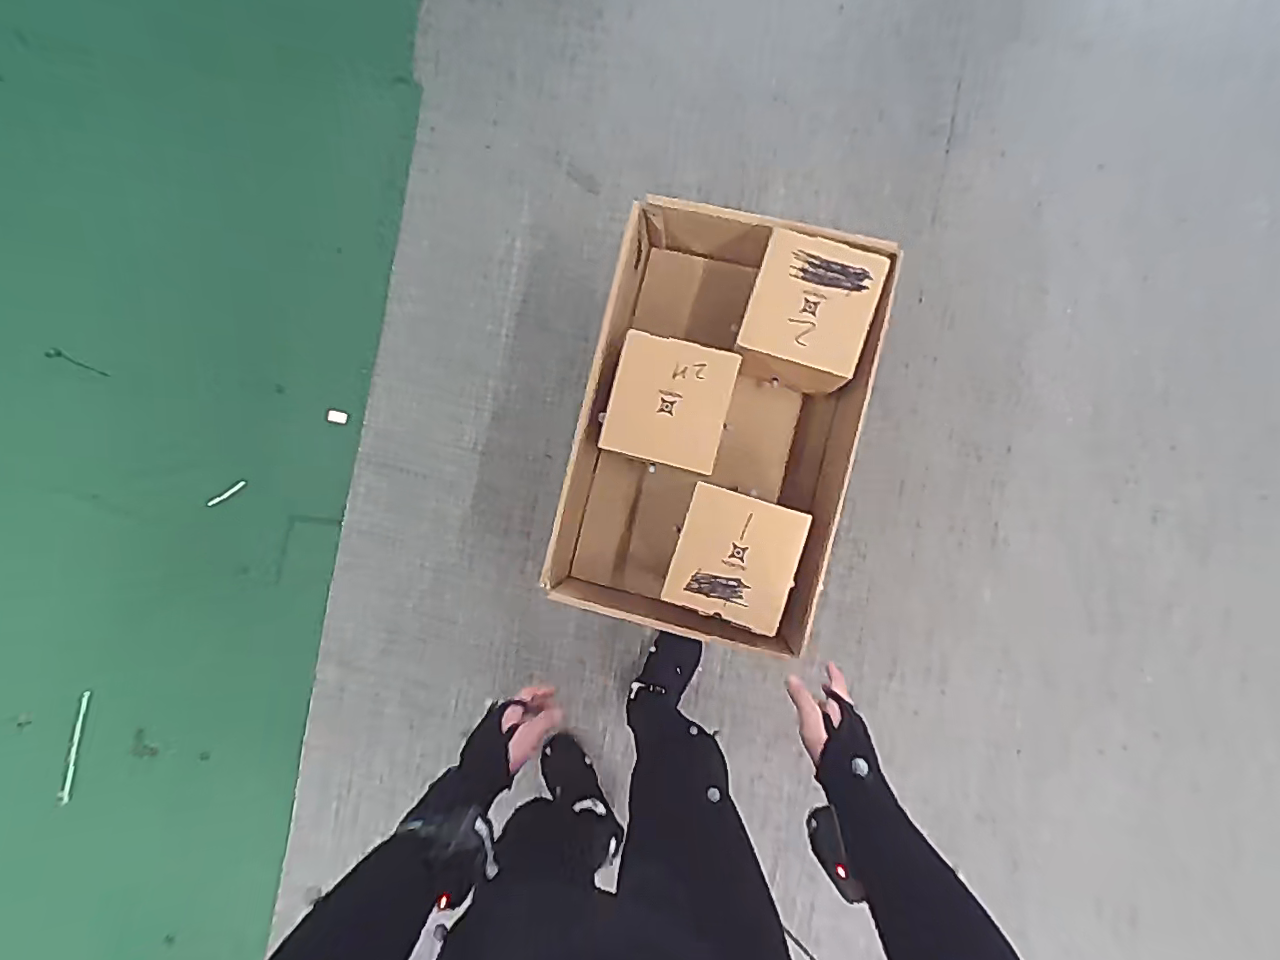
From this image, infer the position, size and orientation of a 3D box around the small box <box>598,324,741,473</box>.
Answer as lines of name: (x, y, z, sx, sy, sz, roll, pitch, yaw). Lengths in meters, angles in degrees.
small box: (0.047, -0.114, 0.827, 0.168, 0.176, 0.179, 15, 92, 5)

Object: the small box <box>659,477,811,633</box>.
small box: (0.138, 0.102, 0.815, 0.168, 0.176, 0.179, 18, 92, 6)
